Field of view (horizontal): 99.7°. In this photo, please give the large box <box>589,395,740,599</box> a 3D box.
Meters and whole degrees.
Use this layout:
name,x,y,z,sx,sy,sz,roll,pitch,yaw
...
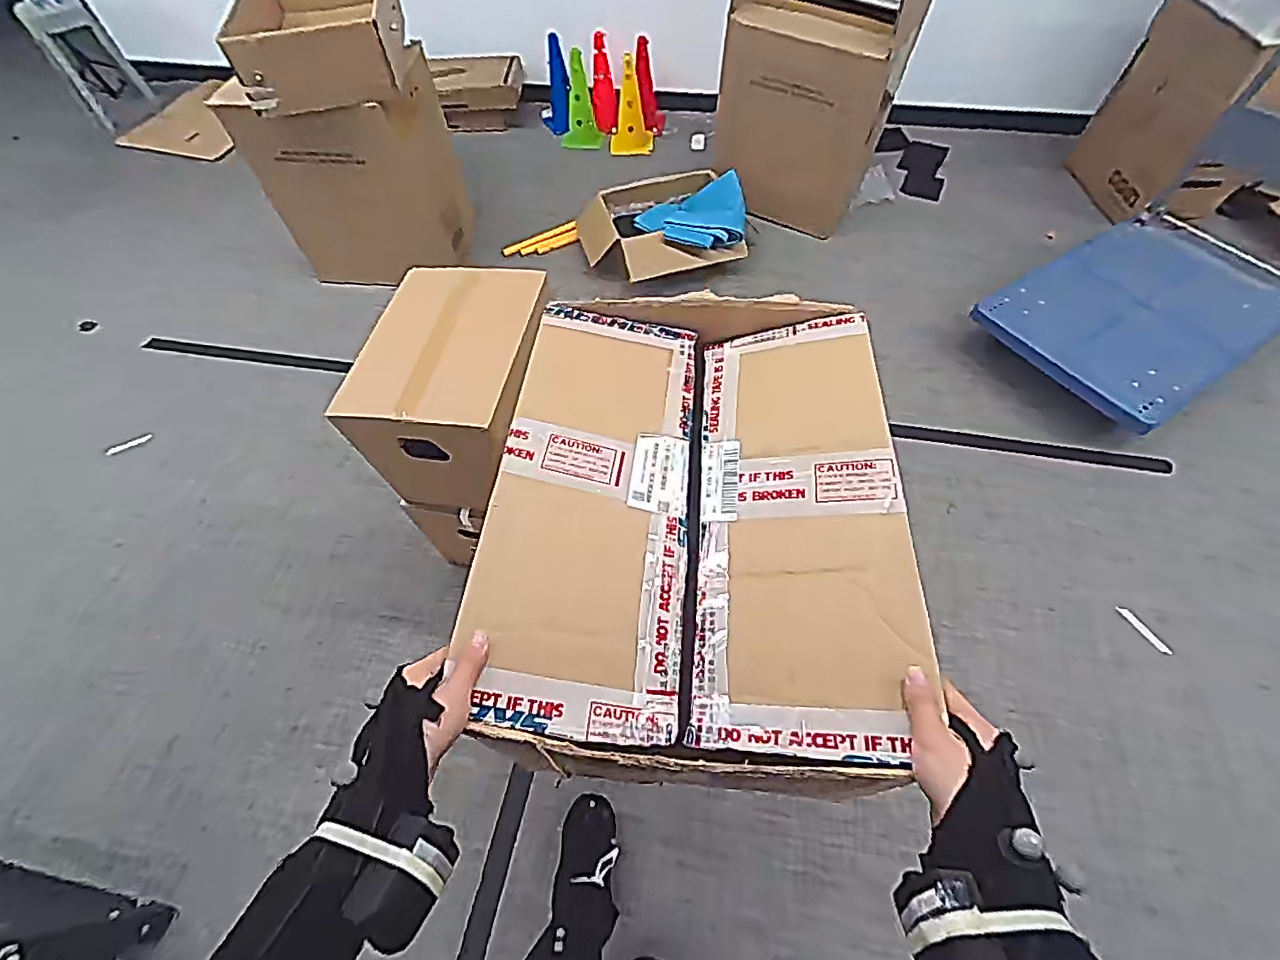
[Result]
name,x,y,z,sx,sy,sz,roll,pitch,yaw
large box,0.071,0.045,1.381,0.320,0.320,0.408,7,59,7
